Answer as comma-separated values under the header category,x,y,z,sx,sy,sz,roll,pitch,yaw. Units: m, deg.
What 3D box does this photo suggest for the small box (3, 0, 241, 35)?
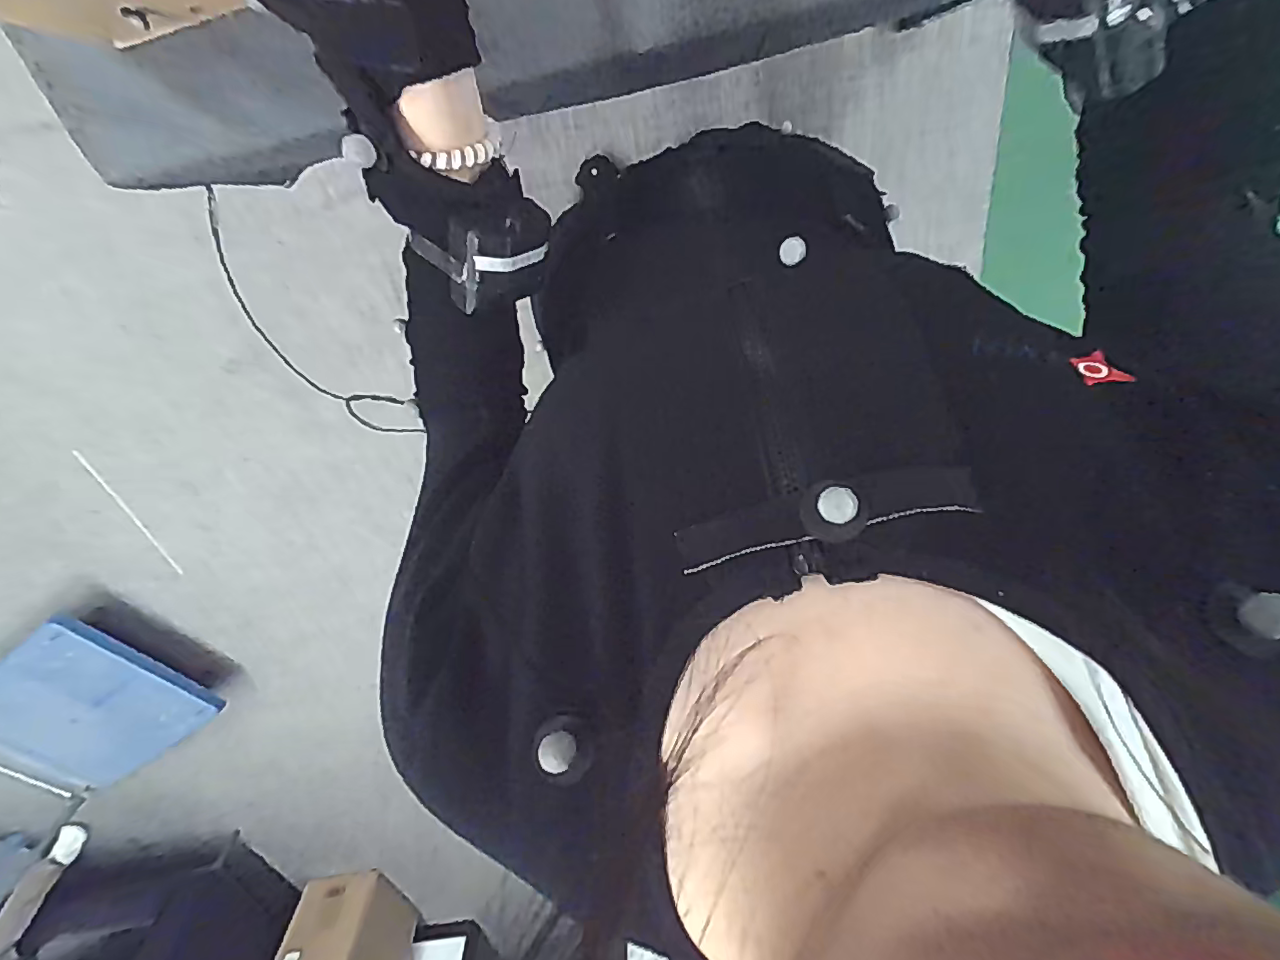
category,x,y,z,sx,sy,sz,roll,pitch,yaw
small box,-0.442,-0.467,0.394,0.168,0.176,0.179,-13,121,5
